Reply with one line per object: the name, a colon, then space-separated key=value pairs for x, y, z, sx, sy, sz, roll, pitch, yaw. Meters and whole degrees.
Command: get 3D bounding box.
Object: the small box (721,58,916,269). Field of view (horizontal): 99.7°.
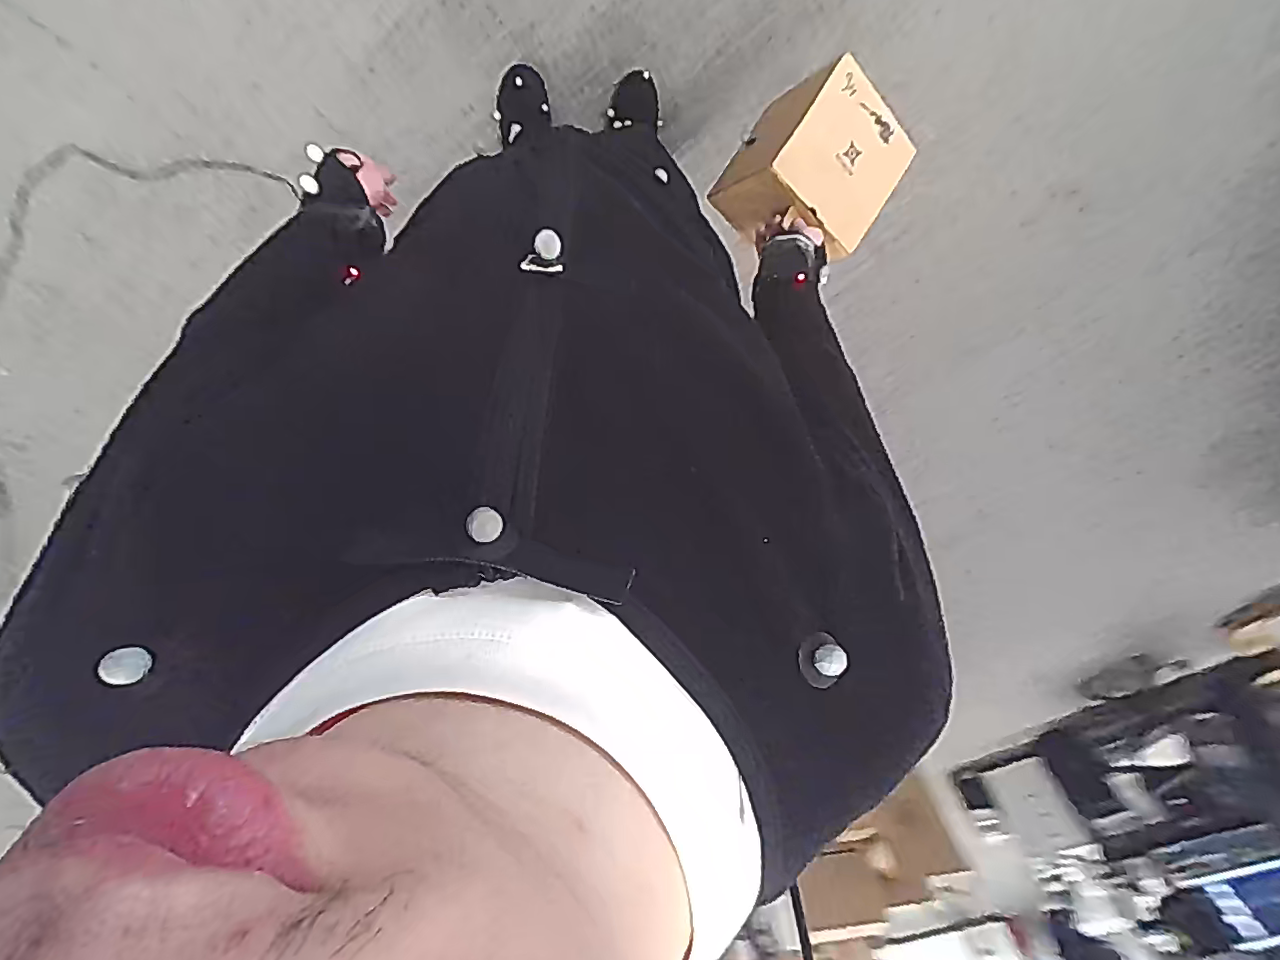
small box: x=0.241 y=-0.430 z=0.775 sx=0.168 sy=0.176 sz=0.179 roll=30 pitch=90 yaw=-23
